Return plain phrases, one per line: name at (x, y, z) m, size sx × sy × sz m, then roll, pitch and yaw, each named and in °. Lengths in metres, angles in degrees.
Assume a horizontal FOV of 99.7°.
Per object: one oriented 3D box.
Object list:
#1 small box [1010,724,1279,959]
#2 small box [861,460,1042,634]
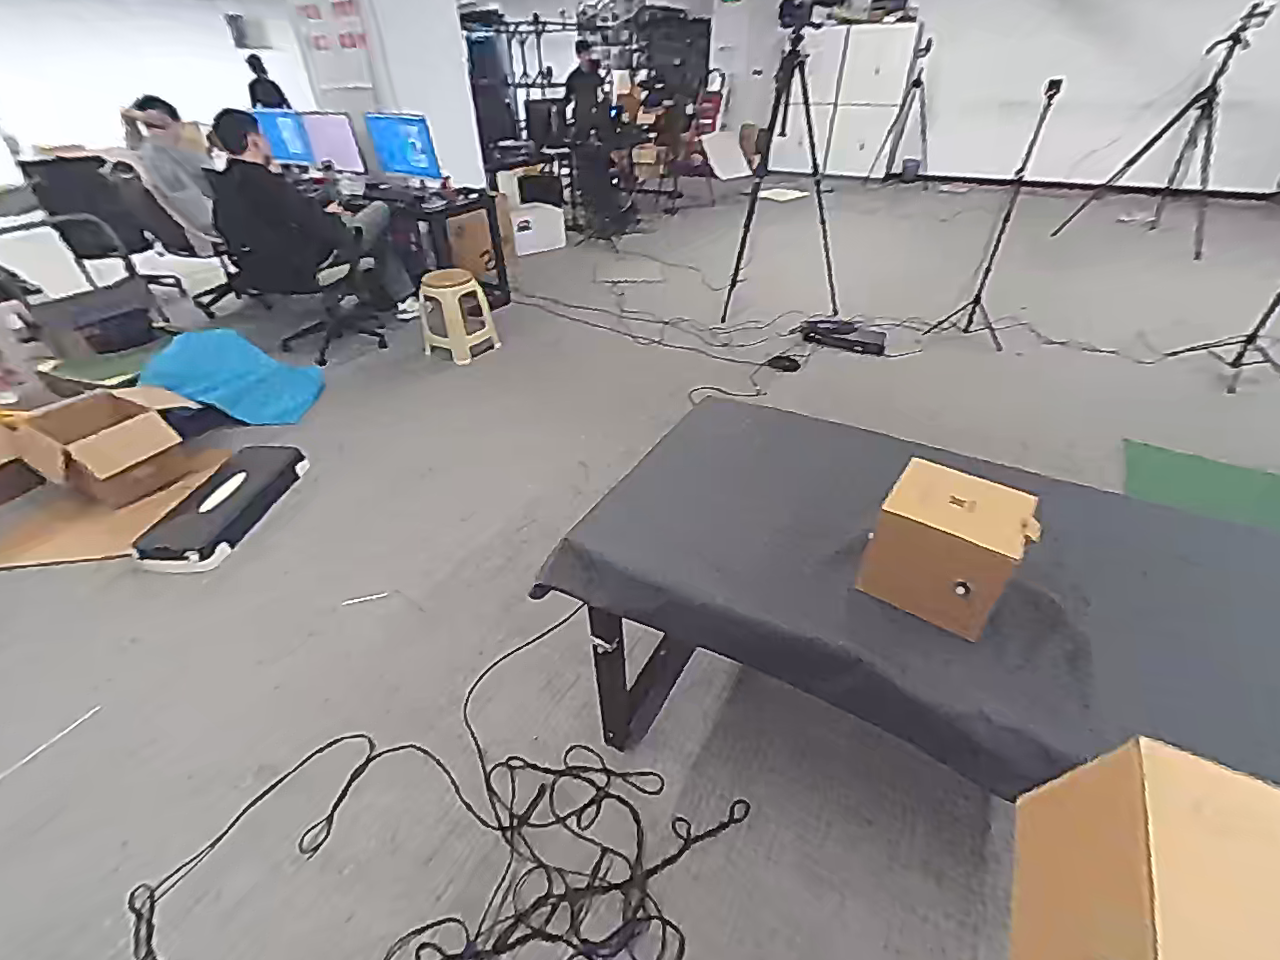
small box at (0.354, 0.290, 0.329) m, size 0.168 × 0.176 × 0.179 m, roll 18°, pitch 54°, yaw 20°
small box at (0.459, 0.101, 0.811) m, size 0.179 × 0.176 × 0.168 m, roll 23°, pitch 42°, yaw 30°
